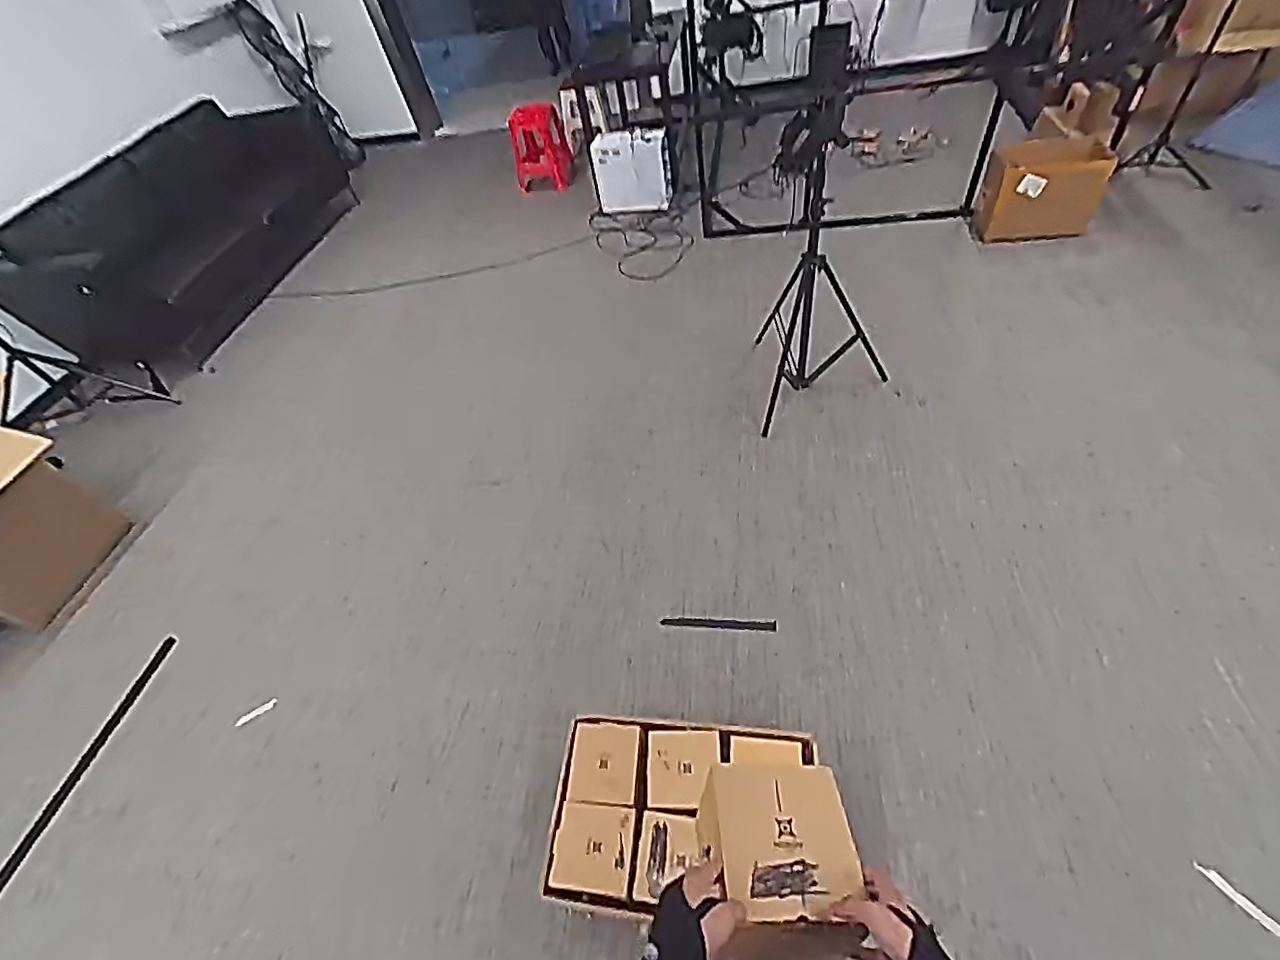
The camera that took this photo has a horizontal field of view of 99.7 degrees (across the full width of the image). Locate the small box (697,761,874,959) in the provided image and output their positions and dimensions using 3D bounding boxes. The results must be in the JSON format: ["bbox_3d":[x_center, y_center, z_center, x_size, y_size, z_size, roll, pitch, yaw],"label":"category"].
[{"bbox_3d":[0.169,0.490,0.693,0.168,0.176,0.179,3,35,-2],"label":"small box"}]
